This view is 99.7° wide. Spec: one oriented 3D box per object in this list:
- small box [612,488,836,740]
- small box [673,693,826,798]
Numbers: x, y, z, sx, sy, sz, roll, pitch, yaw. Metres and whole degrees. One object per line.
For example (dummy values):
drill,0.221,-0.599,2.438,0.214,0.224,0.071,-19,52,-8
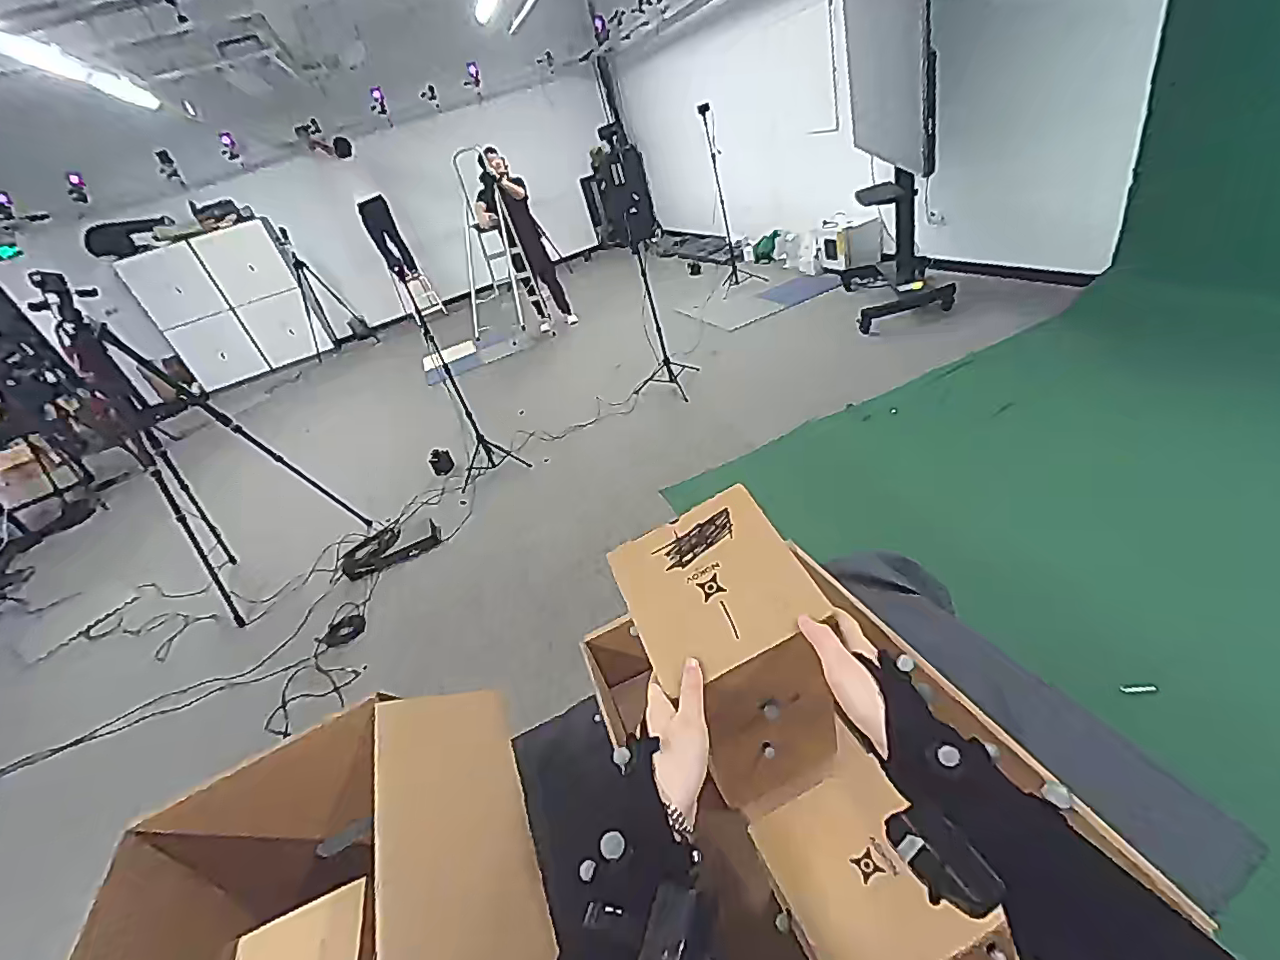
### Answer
small box,0.092,0.147,0.585,0.168,0.176,0.179,-27,48,0
small box,0.143,0.308,0.767,0.179,0.176,0.168,-24,35,-9
